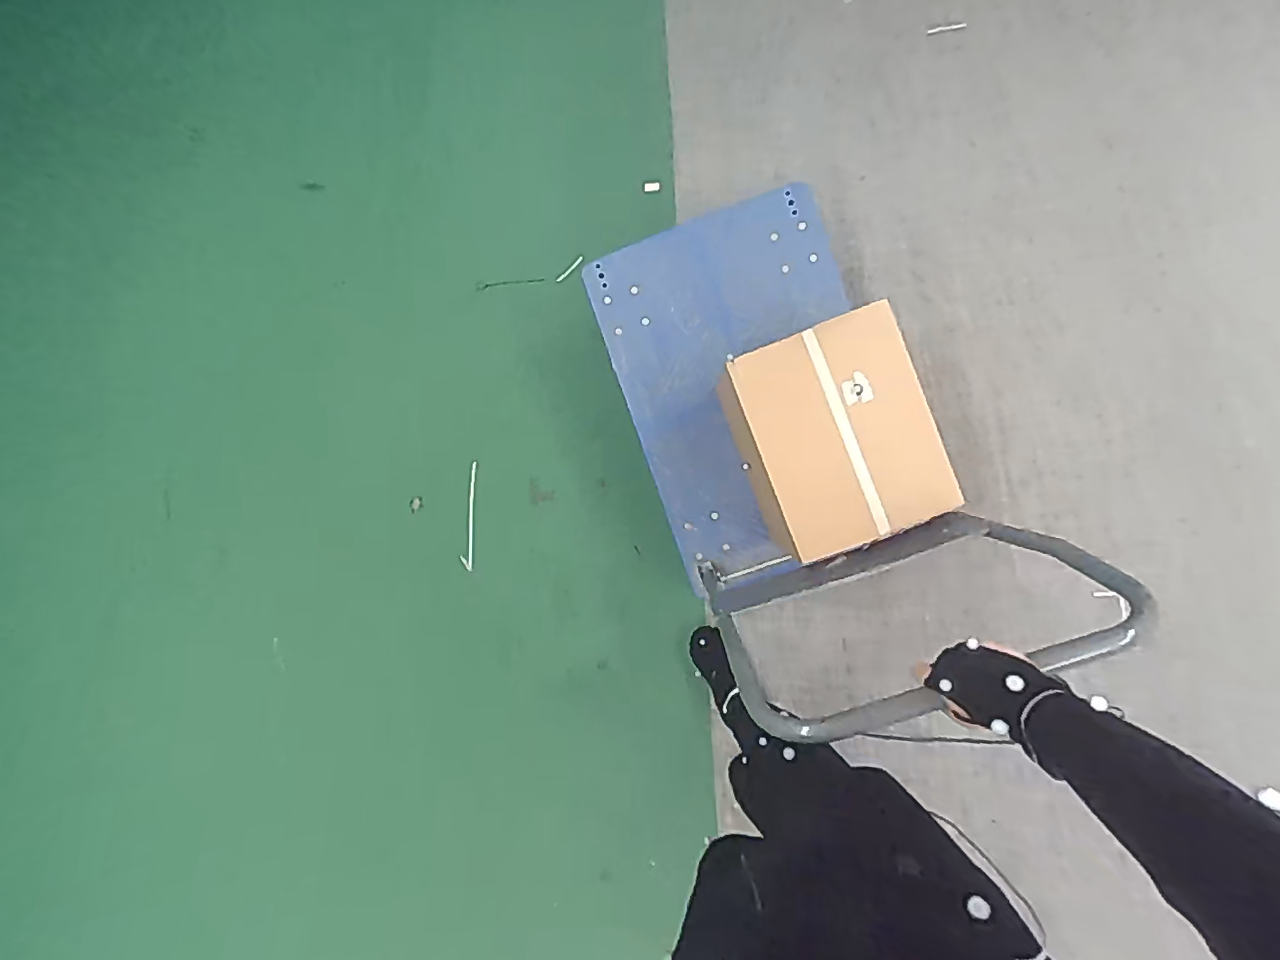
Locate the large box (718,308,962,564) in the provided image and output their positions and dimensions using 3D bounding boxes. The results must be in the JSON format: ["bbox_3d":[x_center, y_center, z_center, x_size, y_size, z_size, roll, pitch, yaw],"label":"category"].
[{"bbox_3d":[0.387,-0.080,1.147,0.320,0.320,0.408,-22,89,3],"label":"large box"}]
